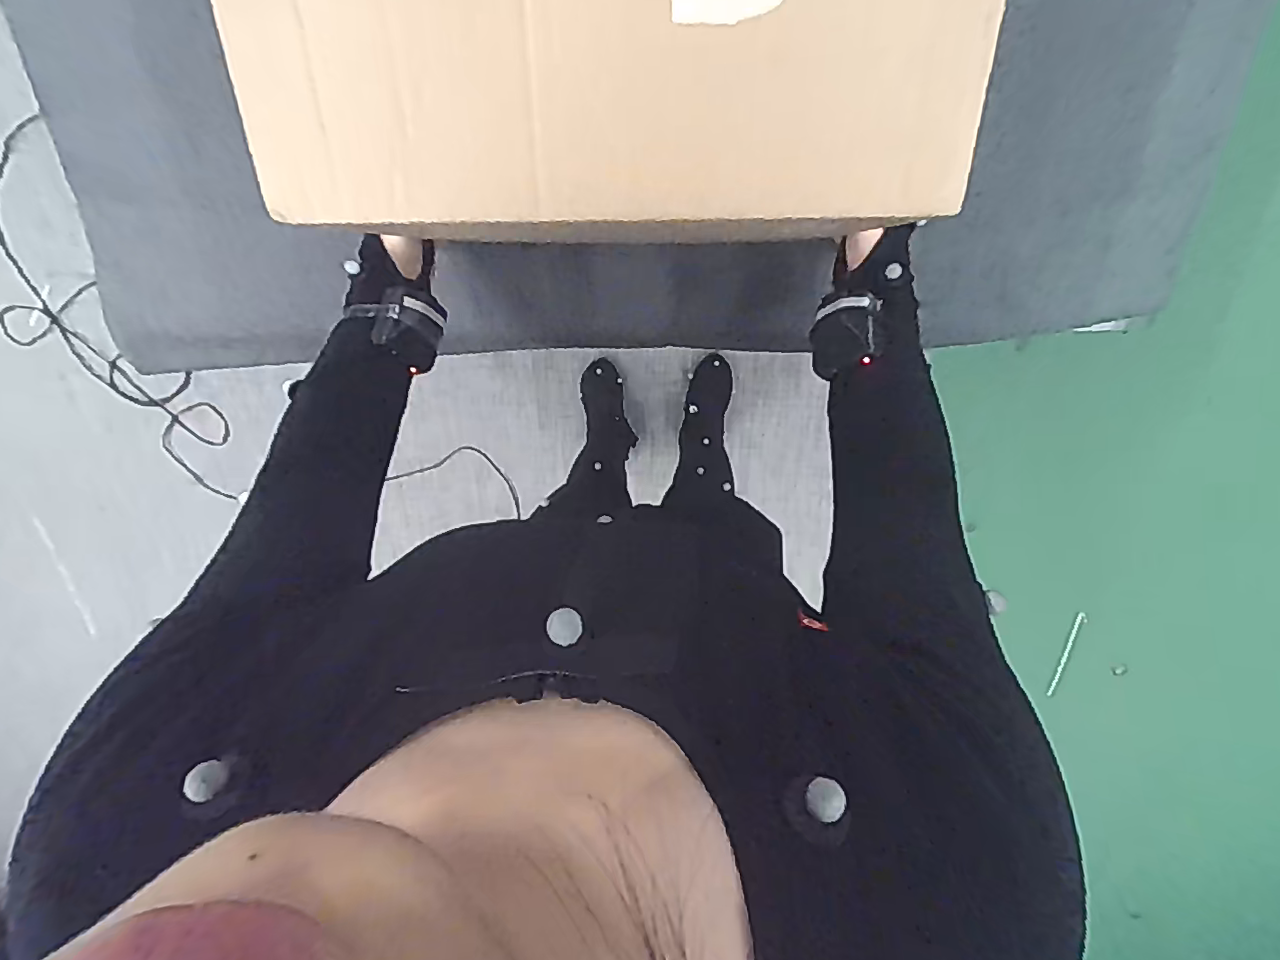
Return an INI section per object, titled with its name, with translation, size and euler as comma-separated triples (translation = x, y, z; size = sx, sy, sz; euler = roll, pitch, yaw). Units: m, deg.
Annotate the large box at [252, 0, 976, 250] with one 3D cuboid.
[large box]
translation = -0.014, -0.357, 0.418
size = 0.408, 0.320, 0.320
euler = 0, 112, 3
